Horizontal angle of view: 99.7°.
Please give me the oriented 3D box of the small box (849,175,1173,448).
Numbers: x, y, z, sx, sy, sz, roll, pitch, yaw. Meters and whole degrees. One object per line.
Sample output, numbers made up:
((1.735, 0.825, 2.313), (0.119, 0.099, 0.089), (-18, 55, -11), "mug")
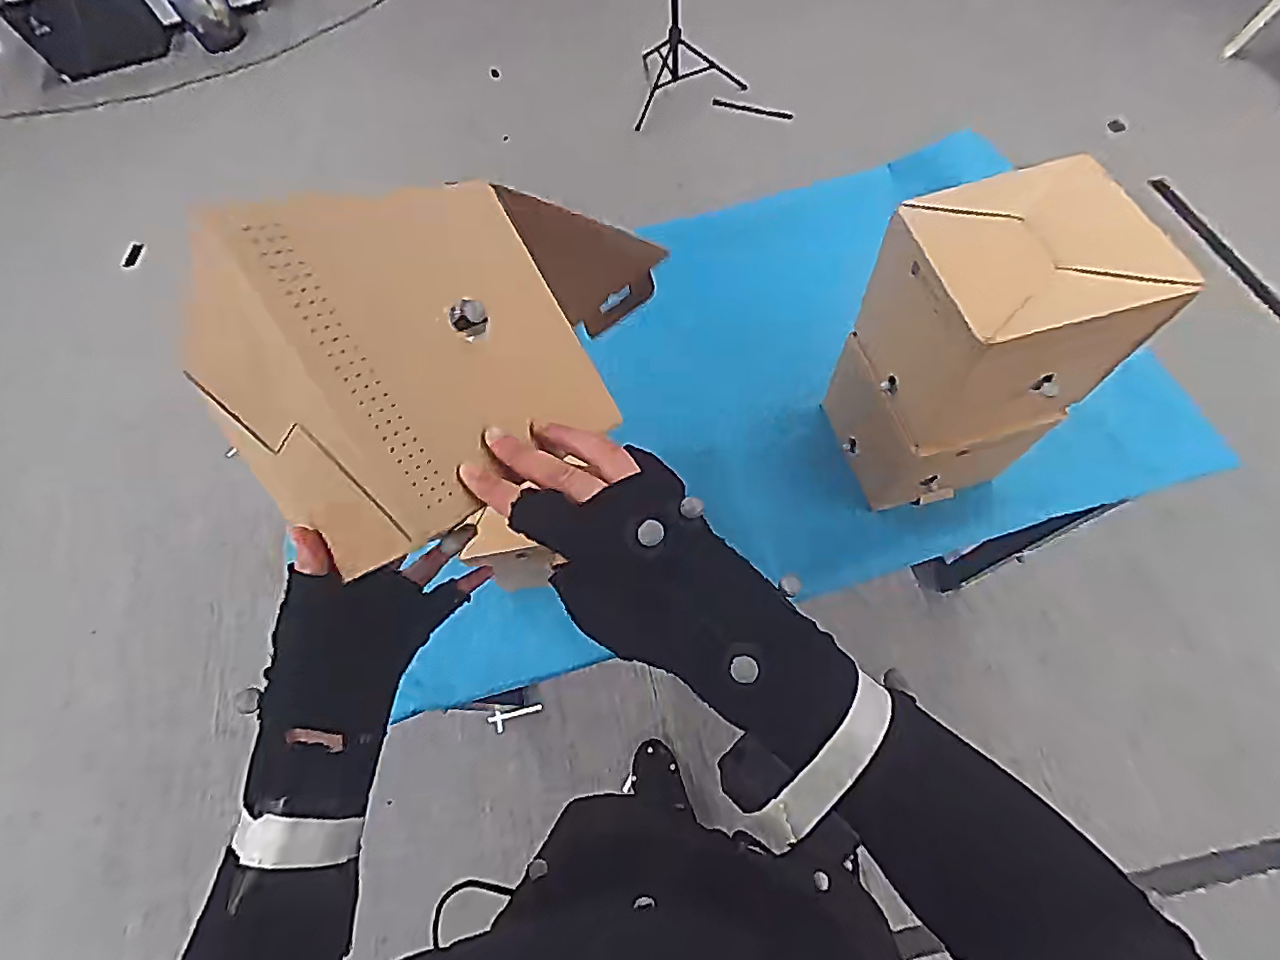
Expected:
((0.334, -0.158, 0.524), (0.179, 0.176, 0.168), (-15, 64, 2), "small box")

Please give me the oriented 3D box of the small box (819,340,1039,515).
((0.345, -0.084, 0.670), (0.168, 0.176, 0.179), (-15, 65, -1), "small box")

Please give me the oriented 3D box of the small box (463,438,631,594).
((-0.112, 0.025, 0.666), (0.168, 0.176, 0.179), (-10, 66, 0), "small box")

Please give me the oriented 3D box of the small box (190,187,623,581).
((-0.151, -0.054, 0.358), (0.176, 0.168, 0.179), (-41, 104, -42), "small box")
